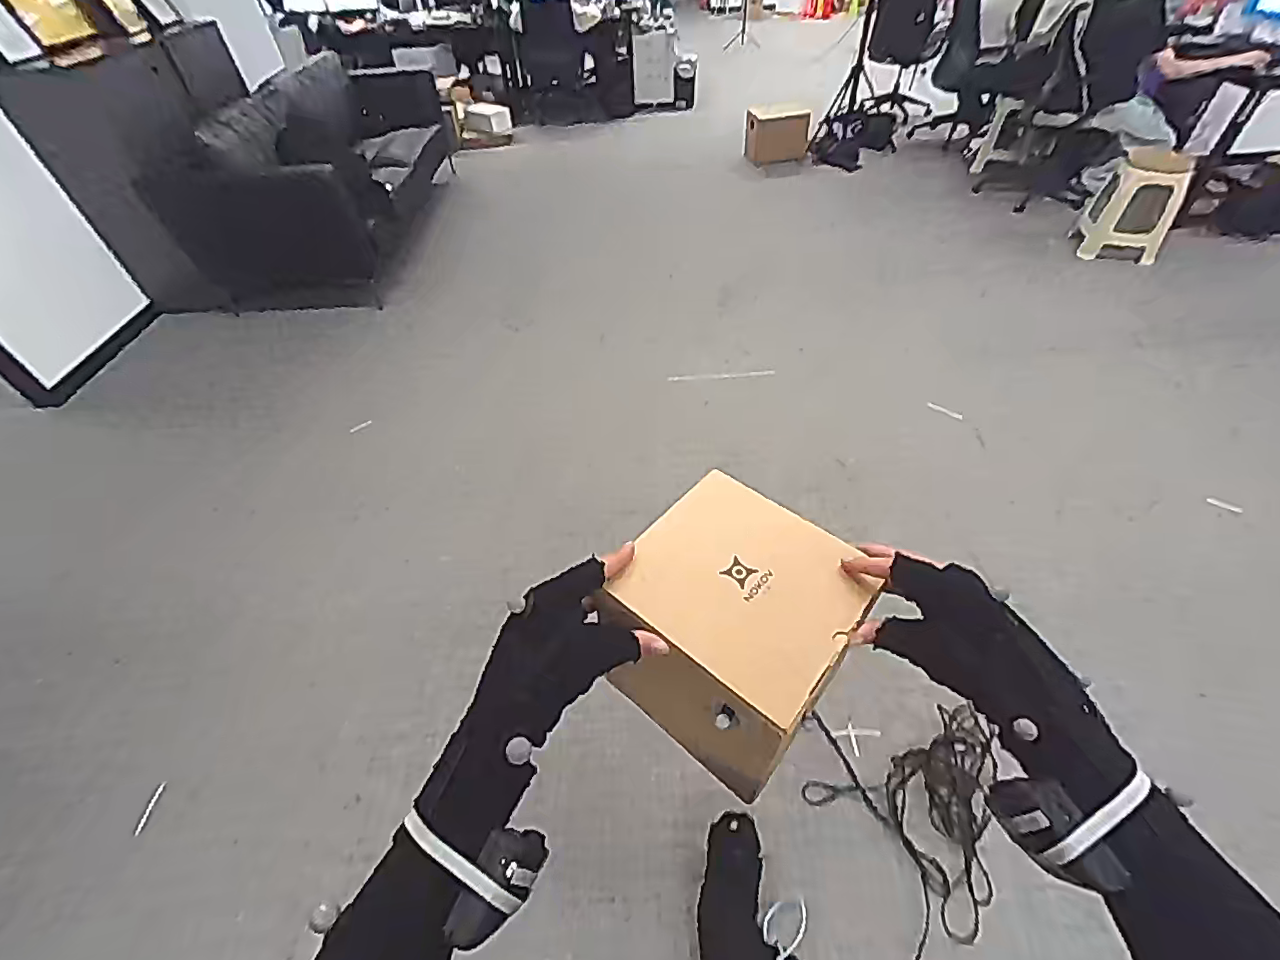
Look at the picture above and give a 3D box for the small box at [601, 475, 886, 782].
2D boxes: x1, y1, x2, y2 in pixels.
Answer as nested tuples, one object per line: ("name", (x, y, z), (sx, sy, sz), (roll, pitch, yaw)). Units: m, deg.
("small box", (0.082, 0.133, 0.493), (0.179, 0.176, 0.168), (33, 54, 27))
